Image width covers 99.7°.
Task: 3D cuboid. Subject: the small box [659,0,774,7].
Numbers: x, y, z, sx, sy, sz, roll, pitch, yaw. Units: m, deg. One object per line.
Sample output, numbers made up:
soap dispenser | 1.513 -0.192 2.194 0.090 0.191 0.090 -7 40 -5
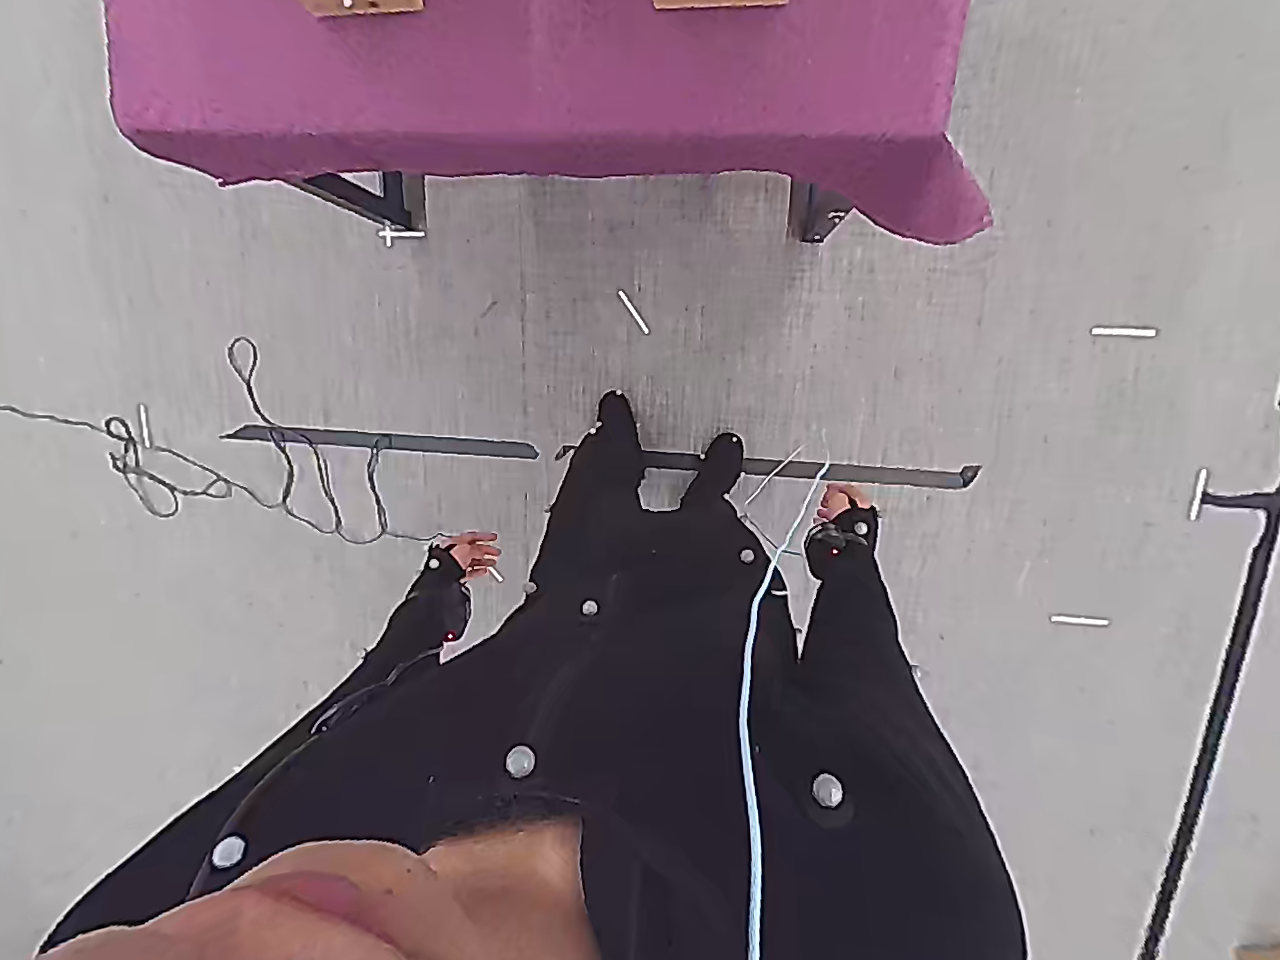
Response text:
small box | 0.099 -0.687 0.619 0.179 0.176 0.168 3 102 5
